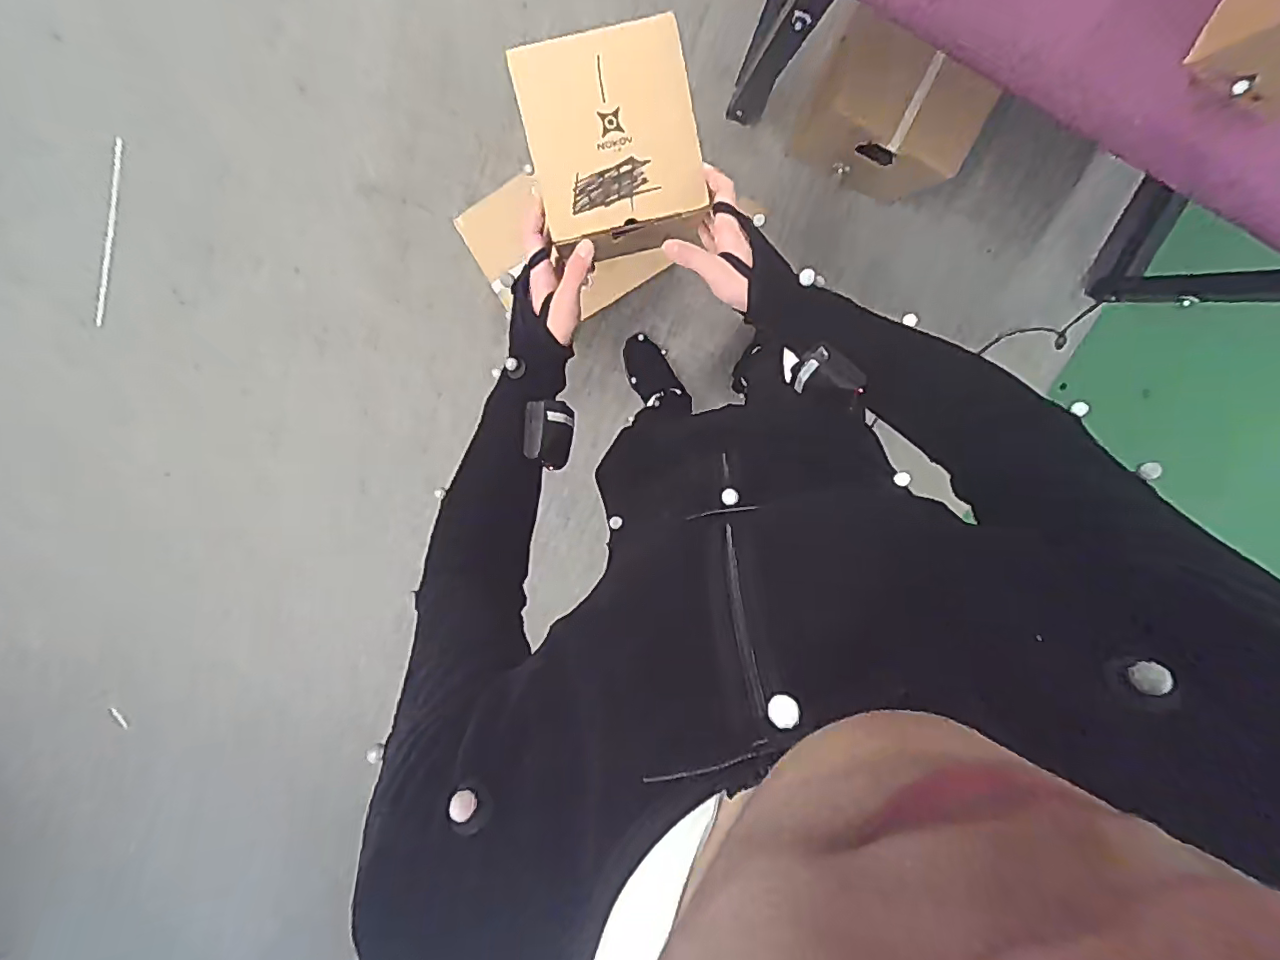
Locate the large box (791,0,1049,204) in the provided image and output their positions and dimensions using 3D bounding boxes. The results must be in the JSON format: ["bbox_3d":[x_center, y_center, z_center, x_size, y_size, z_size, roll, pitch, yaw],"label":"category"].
[{"bbox_3d":[0.593,-0.901,1.199,0.320,0.320,0.408,21,105,-9],"label":"large box"}]

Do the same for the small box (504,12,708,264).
[{"bbox_3d":[-0.031,-0.347,0.592,0.168,0.176,0.179,-13,103,0],"label":"small box"}]

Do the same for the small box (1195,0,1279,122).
[{"bbox_3d":[0.824,-0.561,0.620,0.168,0.176,0.179,24,105,-8],"label":"small box"}]
